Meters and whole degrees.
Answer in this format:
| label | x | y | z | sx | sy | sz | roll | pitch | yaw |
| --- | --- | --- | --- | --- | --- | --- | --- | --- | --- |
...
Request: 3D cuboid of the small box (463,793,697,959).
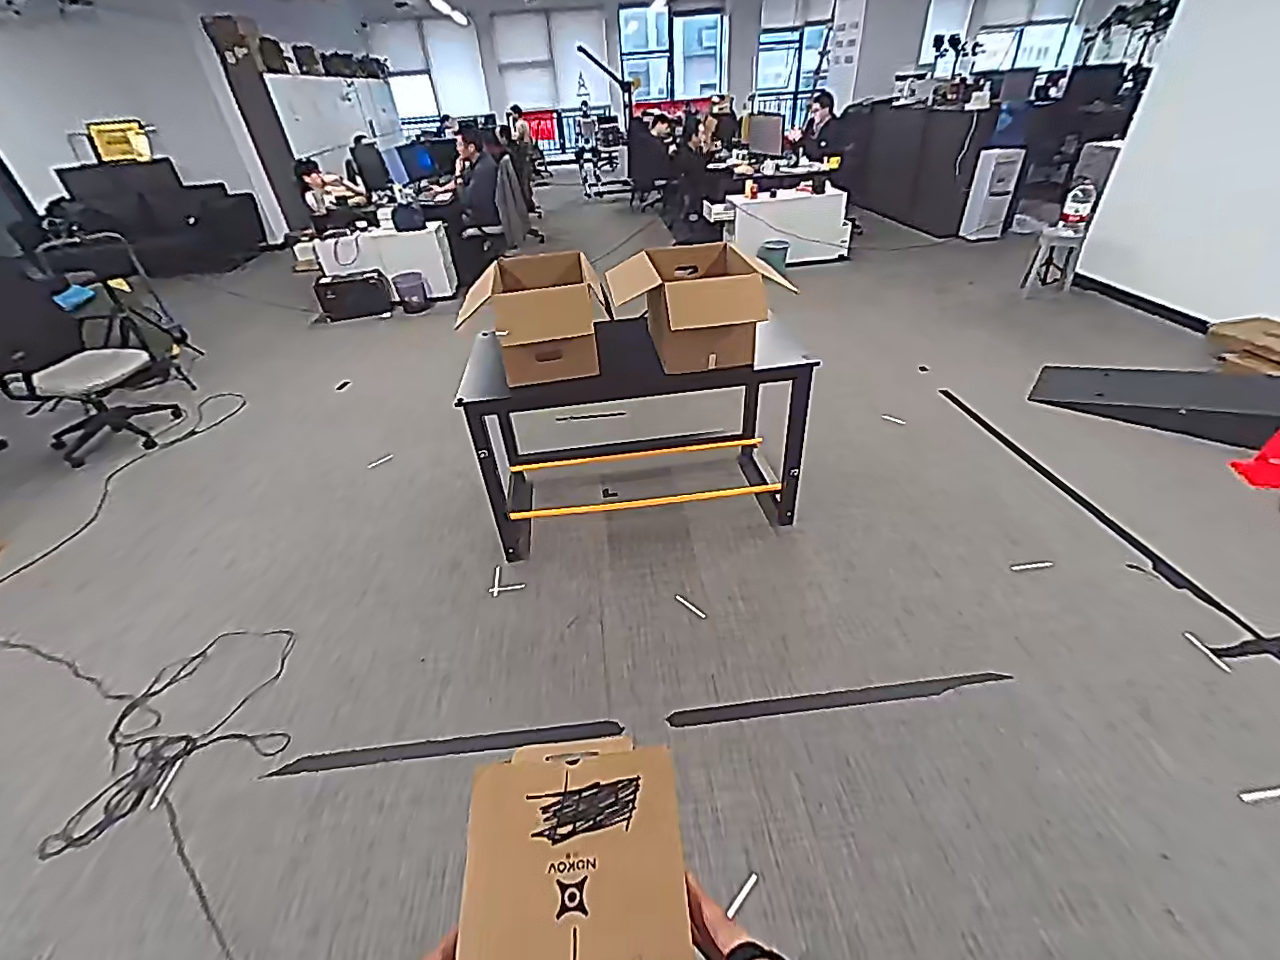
| label | x | y | z | sx | sy | sz | roll | pitch | yaw |
| --- | --- | --- | --- | --- | --- | --- | --- | --- | --- |
| small box | -0.042 | 0.380 | 0.443 | 0.168 | 0.176 | 0.179 | -5 | 49 | -2 |
